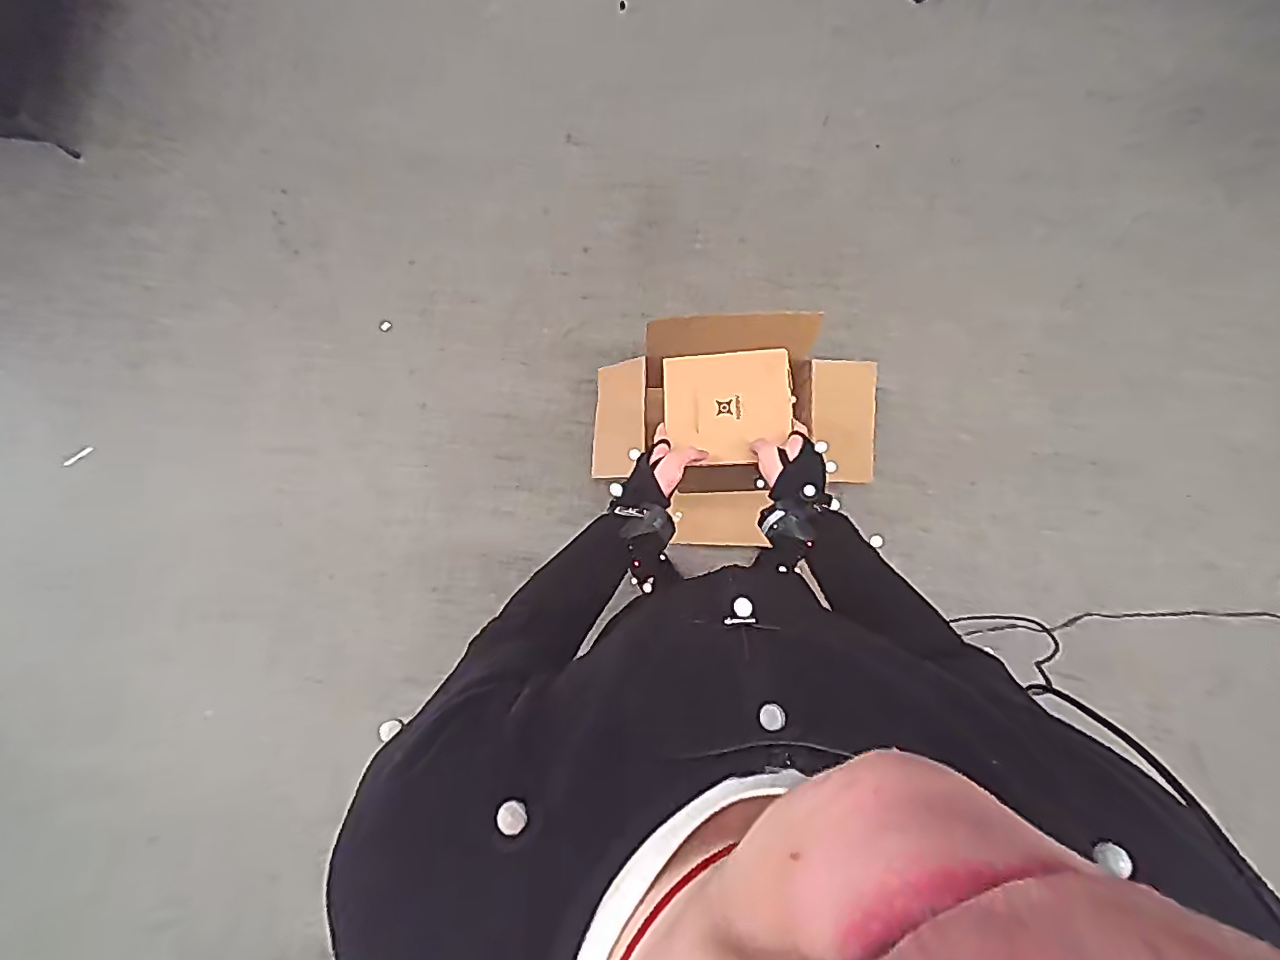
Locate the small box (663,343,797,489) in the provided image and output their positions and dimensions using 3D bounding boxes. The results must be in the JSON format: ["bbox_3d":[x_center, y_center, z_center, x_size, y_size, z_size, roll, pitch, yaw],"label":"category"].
[{"bbox_3d":[0.133,-0.086,0.805,0.179,0.176,0.168,-1,73,11],"label":"small box"}]
